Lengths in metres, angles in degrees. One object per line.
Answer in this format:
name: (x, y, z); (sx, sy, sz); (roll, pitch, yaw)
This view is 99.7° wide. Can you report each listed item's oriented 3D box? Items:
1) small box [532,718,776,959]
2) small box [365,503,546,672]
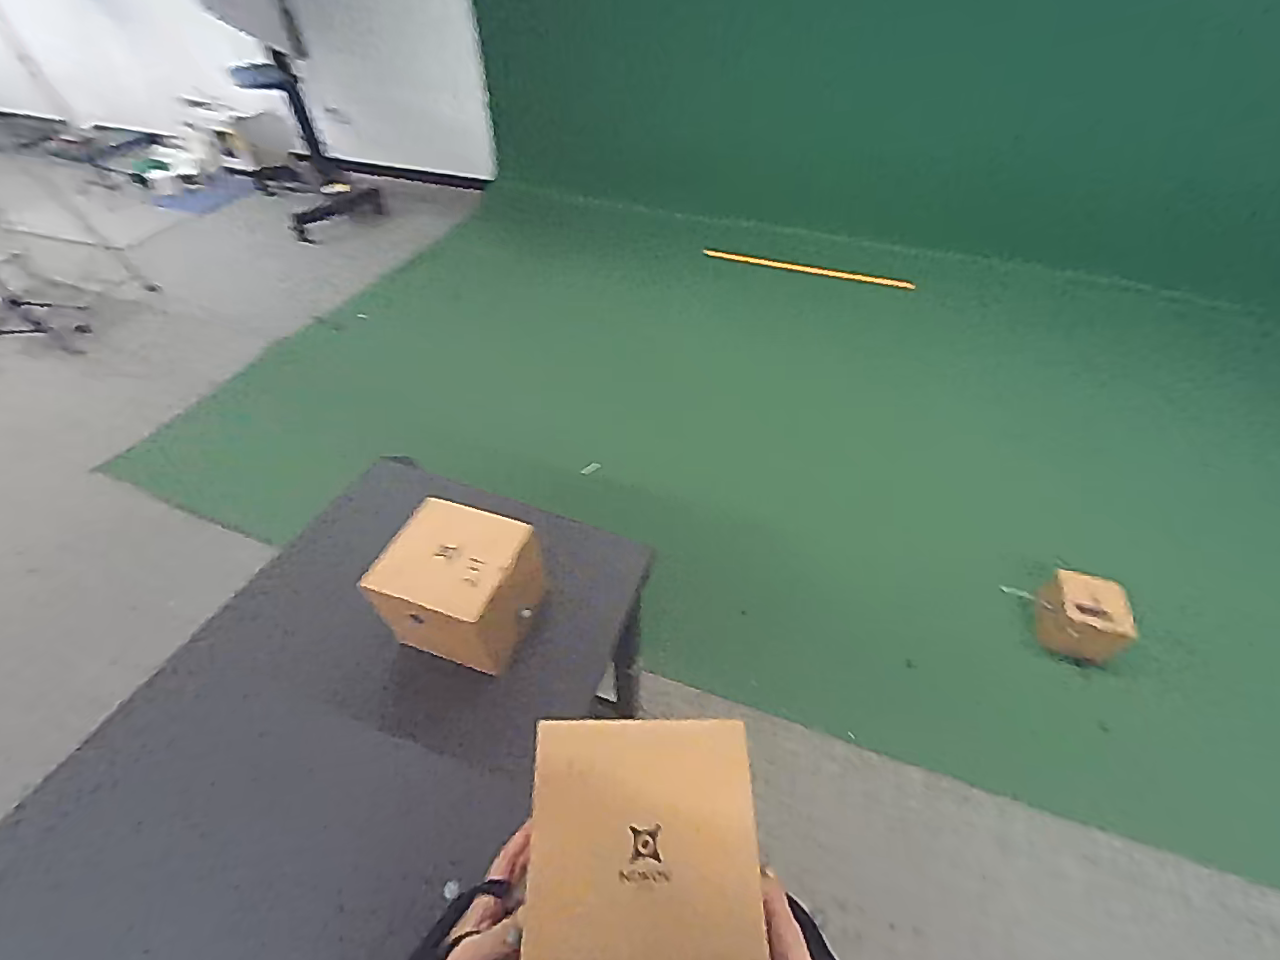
small box: (0.002, 0.309, 0.457); (0.168, 0.176, 0.179); (1, 59, -4)
small box: (-0.261, 0.164, 0.812); (0.179, 0.176, 0.168); (13, 50, 13)
